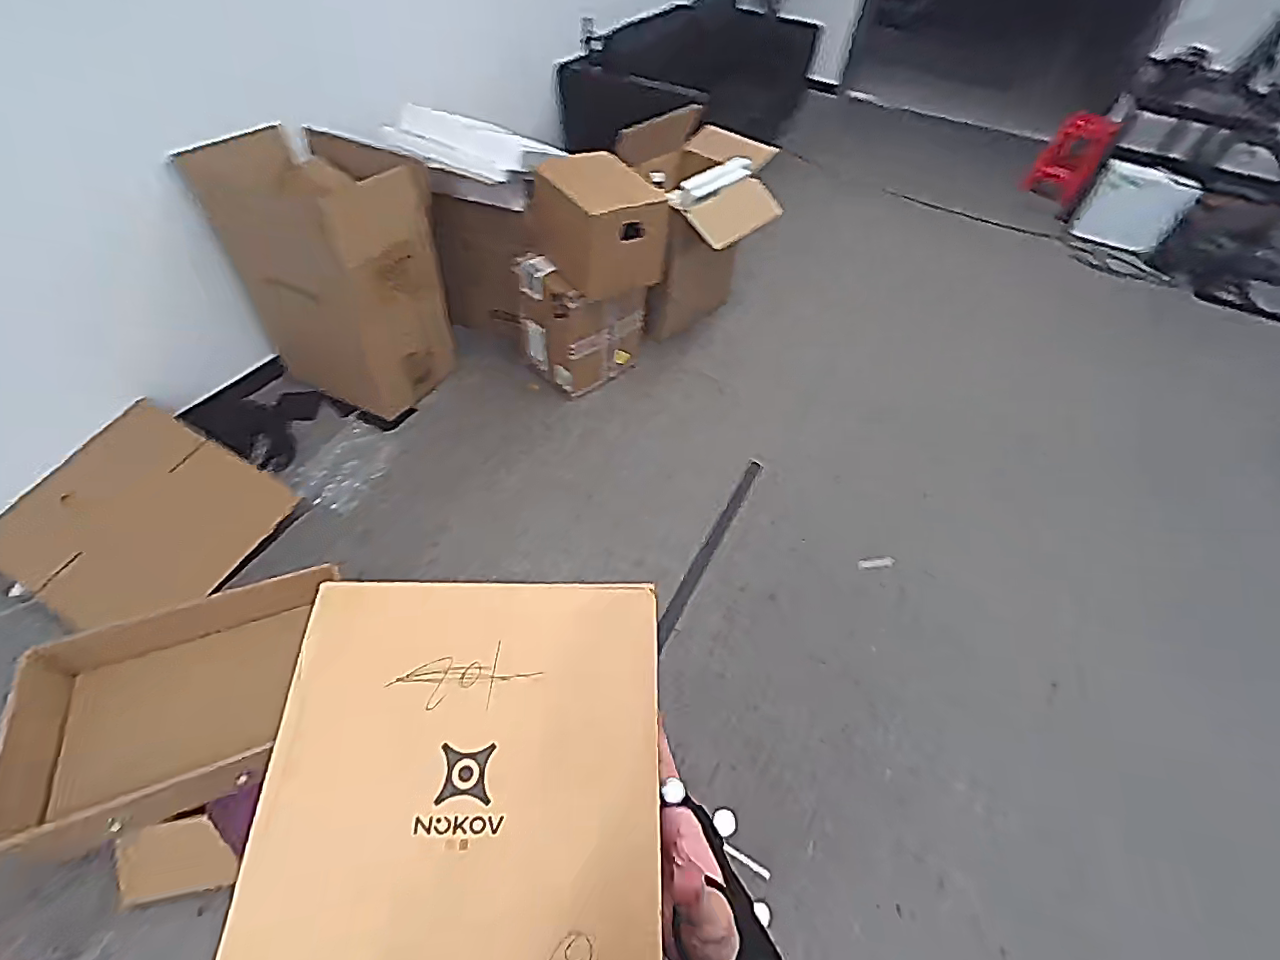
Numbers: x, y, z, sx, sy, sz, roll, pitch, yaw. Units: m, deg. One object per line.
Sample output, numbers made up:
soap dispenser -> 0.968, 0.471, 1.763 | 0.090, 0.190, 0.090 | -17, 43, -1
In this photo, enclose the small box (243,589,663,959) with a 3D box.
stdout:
small box -> -0.074, 0.173, 0.311 | 0.168, 0.176, 0.179 | 2, 61, -2
